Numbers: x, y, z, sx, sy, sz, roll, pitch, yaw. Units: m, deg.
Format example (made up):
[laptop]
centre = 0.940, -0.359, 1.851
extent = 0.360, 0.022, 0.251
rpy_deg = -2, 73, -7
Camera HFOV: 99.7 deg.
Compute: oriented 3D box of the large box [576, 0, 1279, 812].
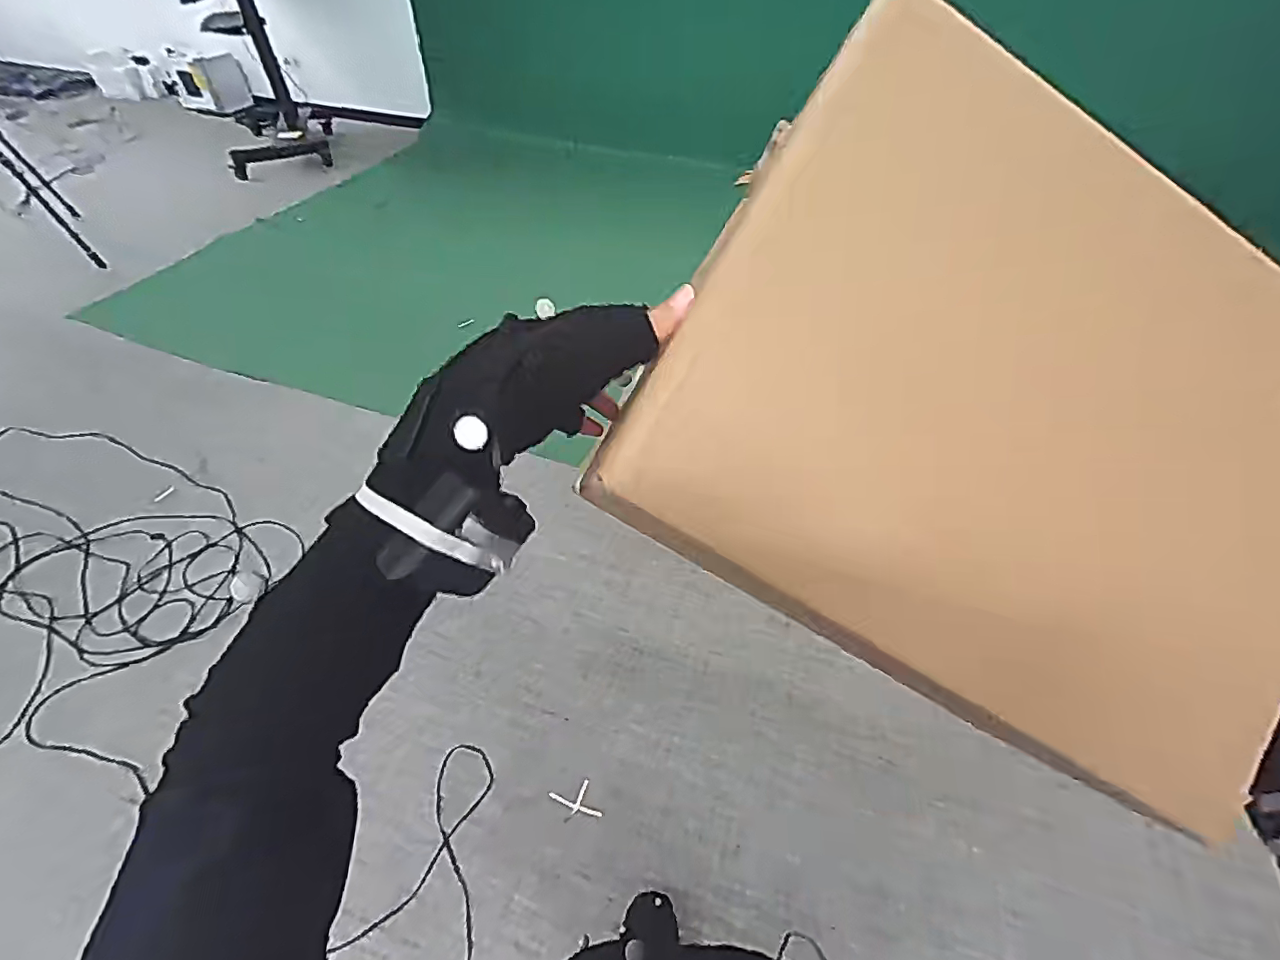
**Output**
[large box]
centre = 0.199, -0.029, 0.445
extent = 0.408, 0.320, 0.320
rpy_deg = 32, 84, -6
